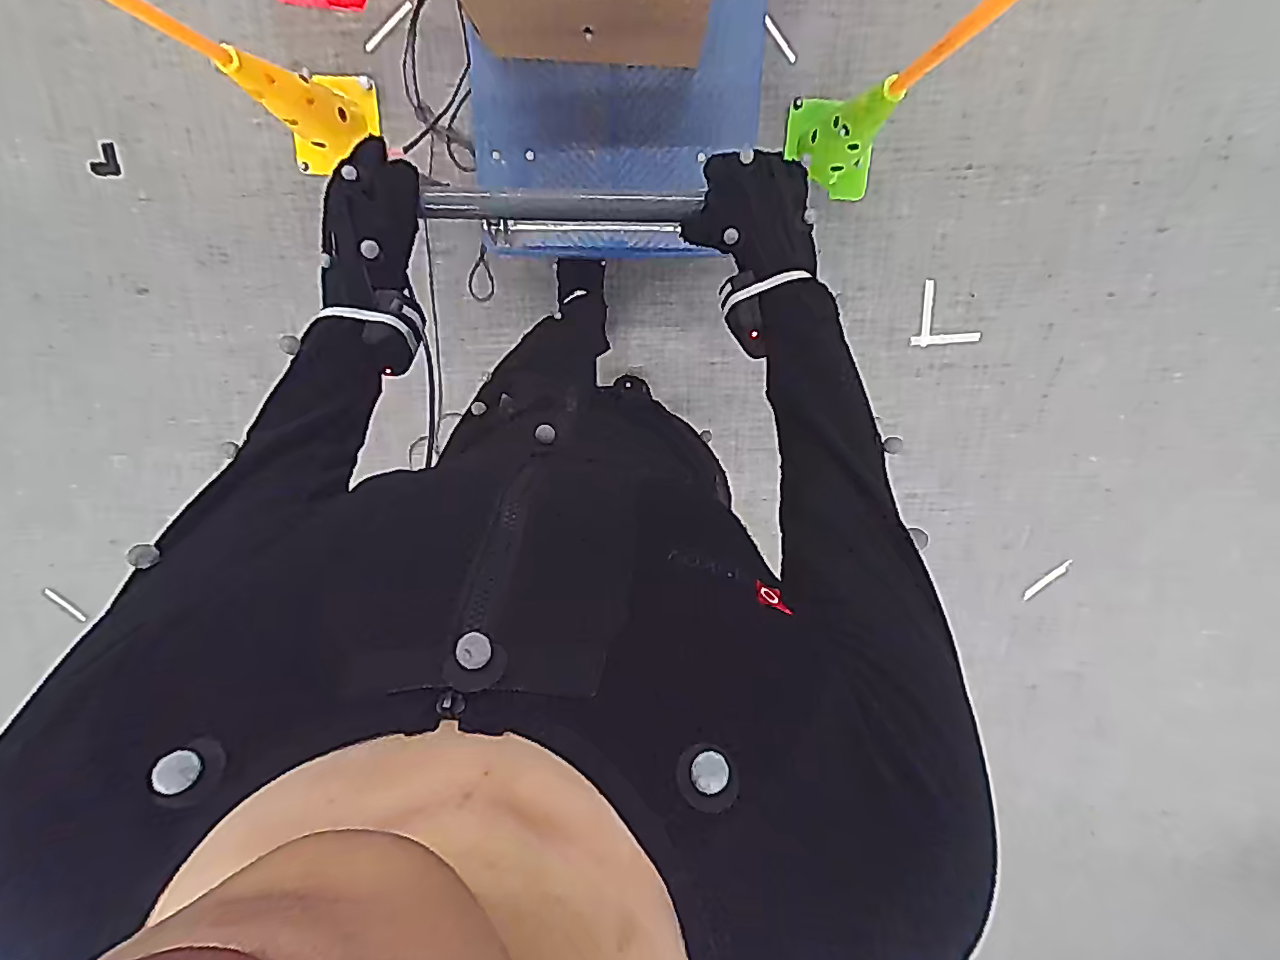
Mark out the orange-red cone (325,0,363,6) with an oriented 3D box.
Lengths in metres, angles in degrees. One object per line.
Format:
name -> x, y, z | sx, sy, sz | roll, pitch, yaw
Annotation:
orange-red cone -> -0.683, -1.086, 0.983 | 0.198, 0.360, 0.199 | 6, 106, -2

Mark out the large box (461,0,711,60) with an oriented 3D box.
large box -> -0.082, -0.922, 0.874 | 0.408, 0.320, 0.320 | 3, 108, 1

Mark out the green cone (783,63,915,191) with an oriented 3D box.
green cone -> 0.436, -0.726, 1.076 | 0.202, 0.368, 0.200 | 2, 107, -1
